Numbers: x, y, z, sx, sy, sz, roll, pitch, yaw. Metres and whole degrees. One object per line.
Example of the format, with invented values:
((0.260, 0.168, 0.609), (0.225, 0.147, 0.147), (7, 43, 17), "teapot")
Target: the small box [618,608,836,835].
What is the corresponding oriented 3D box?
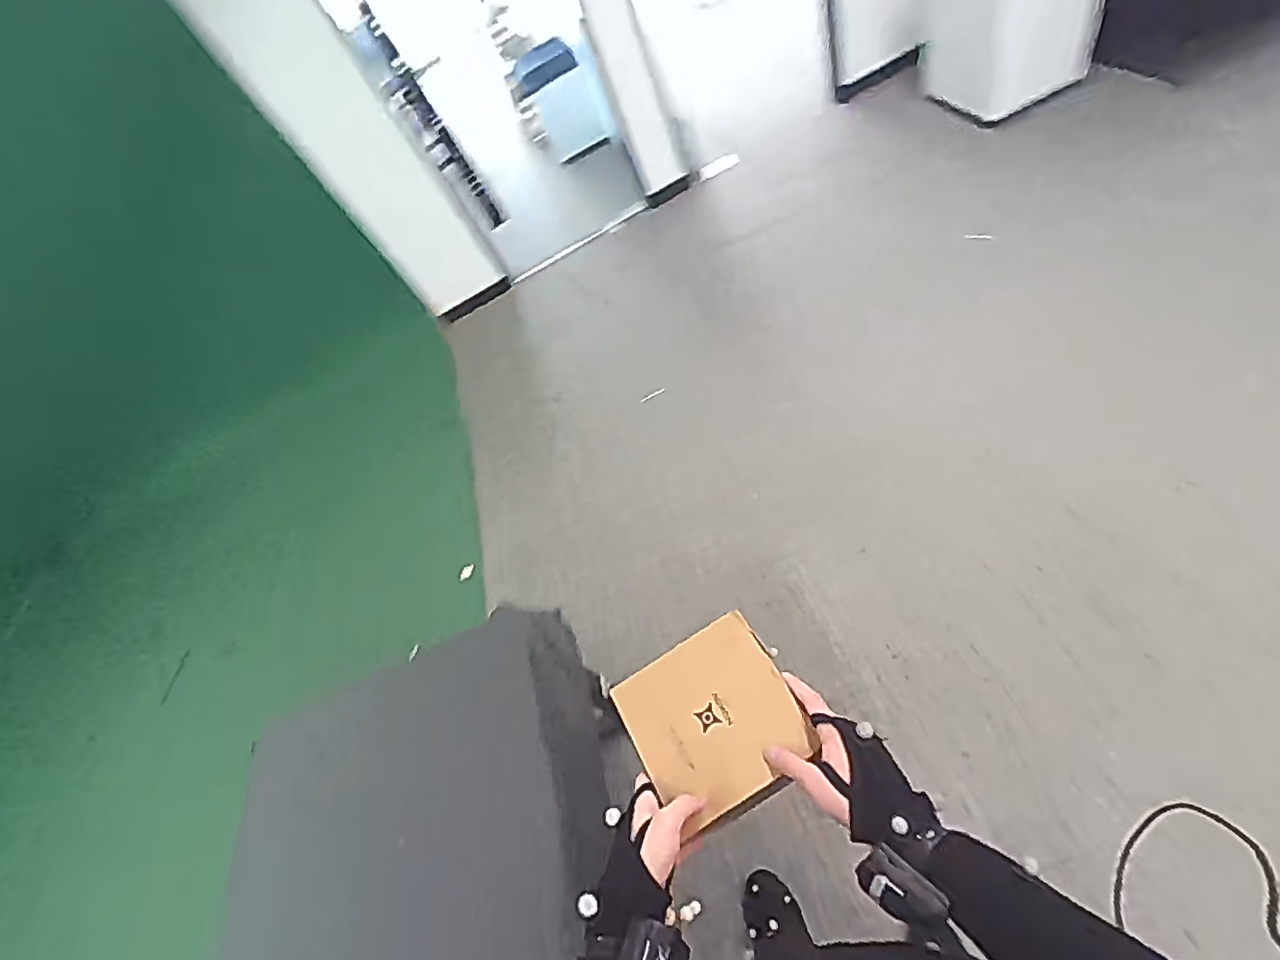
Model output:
((0.103, 0.281, 0.625), (0.179, 0.176, 0.168), (-30, 52, 1), "small box")
